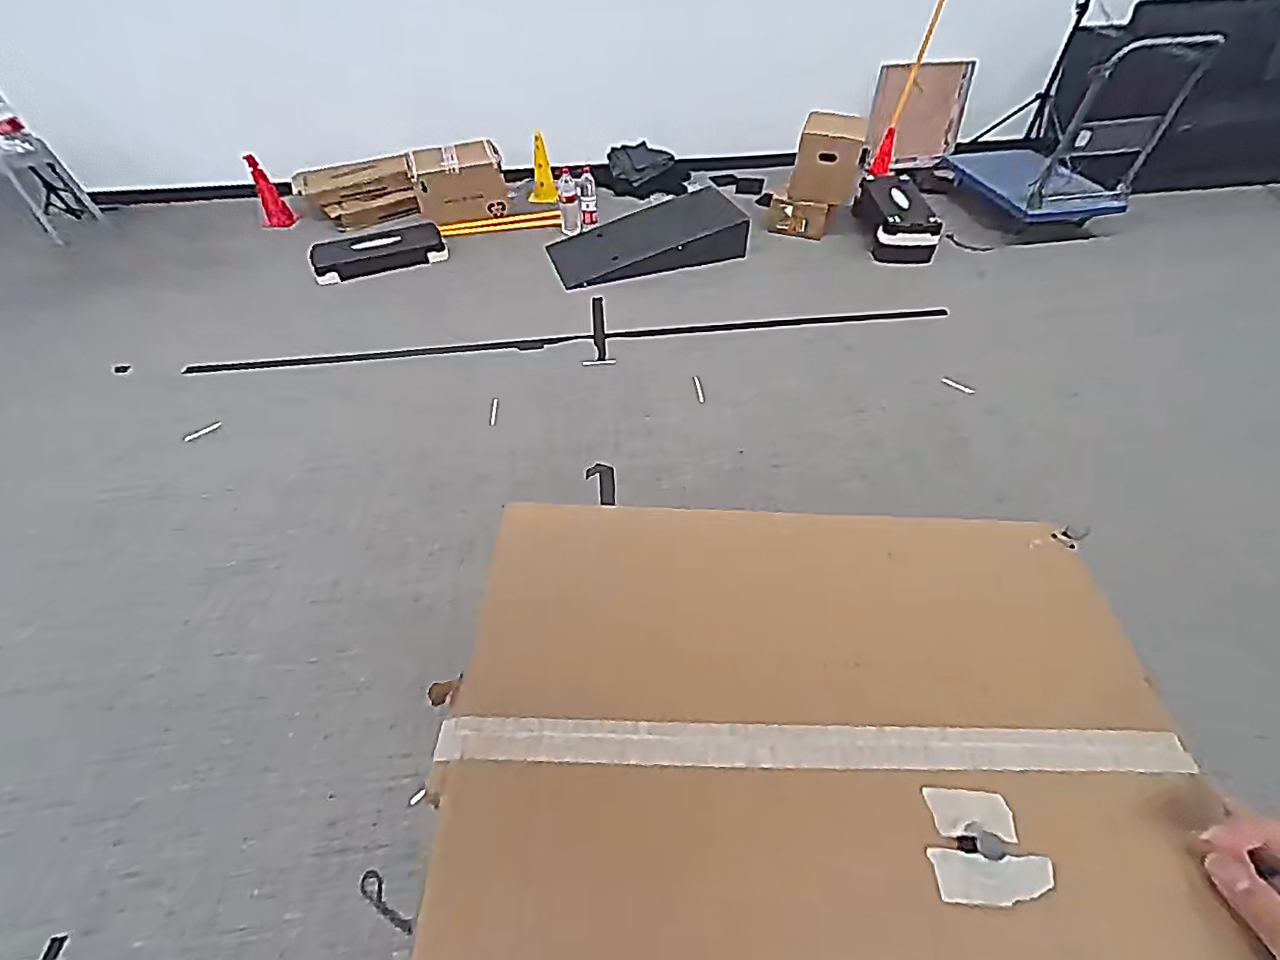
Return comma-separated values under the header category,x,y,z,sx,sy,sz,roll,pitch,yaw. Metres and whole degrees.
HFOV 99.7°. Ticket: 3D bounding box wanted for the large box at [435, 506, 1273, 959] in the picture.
category,x,y,z,sx,sy,sz,roll,pitch,yaw
large box,0.094,0.238,0.428,0.408,0.320,0.320,3,52,-3
